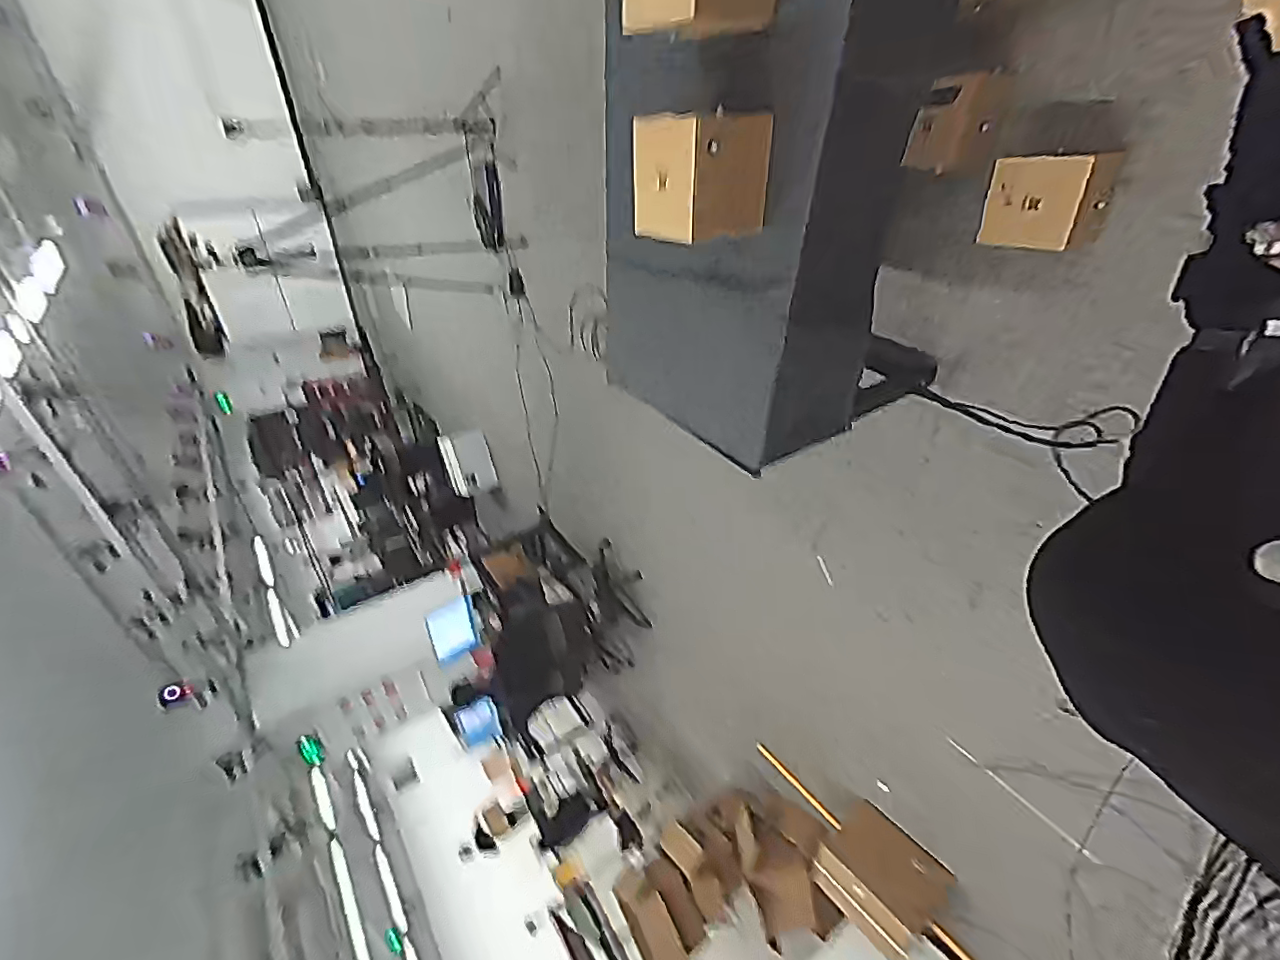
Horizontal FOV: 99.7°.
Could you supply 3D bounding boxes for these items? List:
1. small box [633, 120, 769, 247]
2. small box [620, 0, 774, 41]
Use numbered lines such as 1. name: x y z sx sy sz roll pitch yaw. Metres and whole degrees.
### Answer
1. small box: 0.105 -0.520 0.942 0.168 0.176 0.179 36 138 44
2. small box: 0.085 -0.764 0.801 0.179 0.176 0.168 37 140 42
